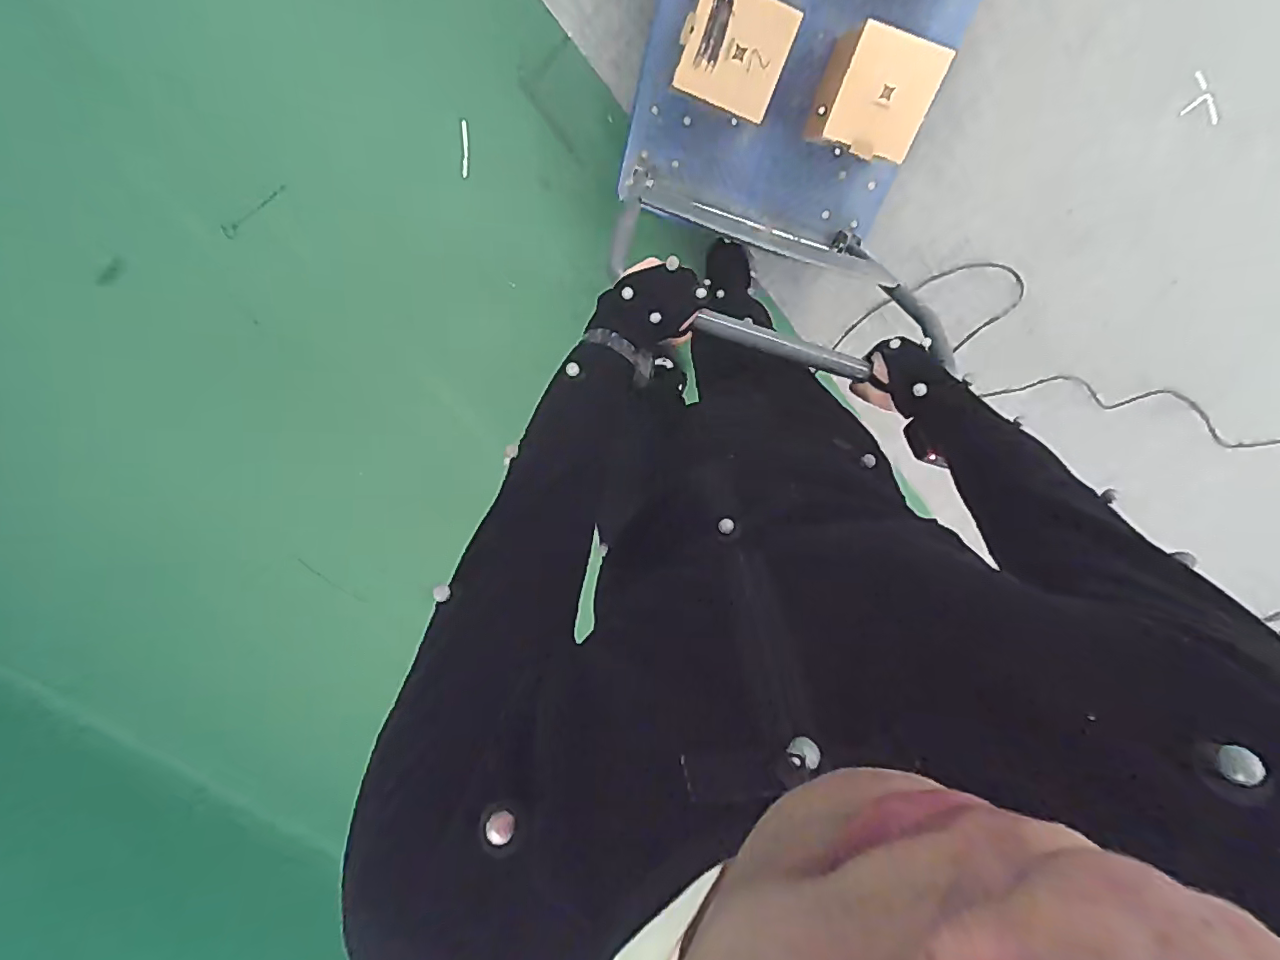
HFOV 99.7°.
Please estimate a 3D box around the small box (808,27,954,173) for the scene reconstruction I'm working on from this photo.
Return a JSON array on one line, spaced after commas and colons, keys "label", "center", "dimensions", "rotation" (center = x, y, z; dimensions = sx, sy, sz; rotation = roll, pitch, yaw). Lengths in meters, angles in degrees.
[{"label": "small box", "center": [0.437, -0.707, 1.020], "dimensions": [0.168, 0.176, 0.179], "rotation": [15, 123, -7]}]
